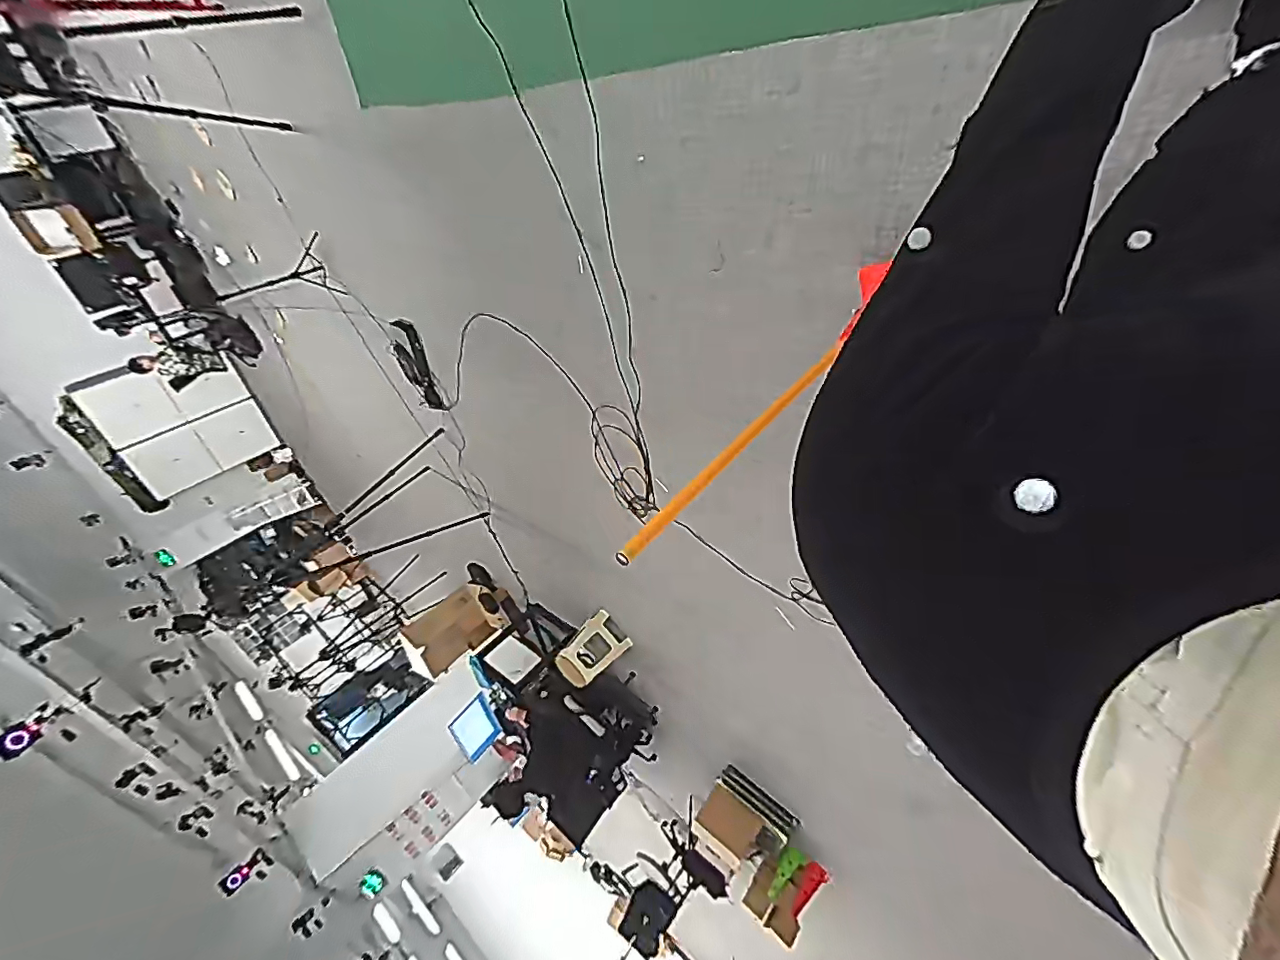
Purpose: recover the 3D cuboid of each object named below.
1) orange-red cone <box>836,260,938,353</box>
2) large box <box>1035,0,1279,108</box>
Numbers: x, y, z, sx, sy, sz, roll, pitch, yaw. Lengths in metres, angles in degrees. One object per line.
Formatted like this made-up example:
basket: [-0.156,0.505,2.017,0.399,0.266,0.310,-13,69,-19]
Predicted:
orange-red cone: [0.610,-0.415,1.416,0.199,0.360,0.198,9,128,46]
large box: [0.424,-0.270,0.155,0.320,0.320,0.408,107,150,-44]
